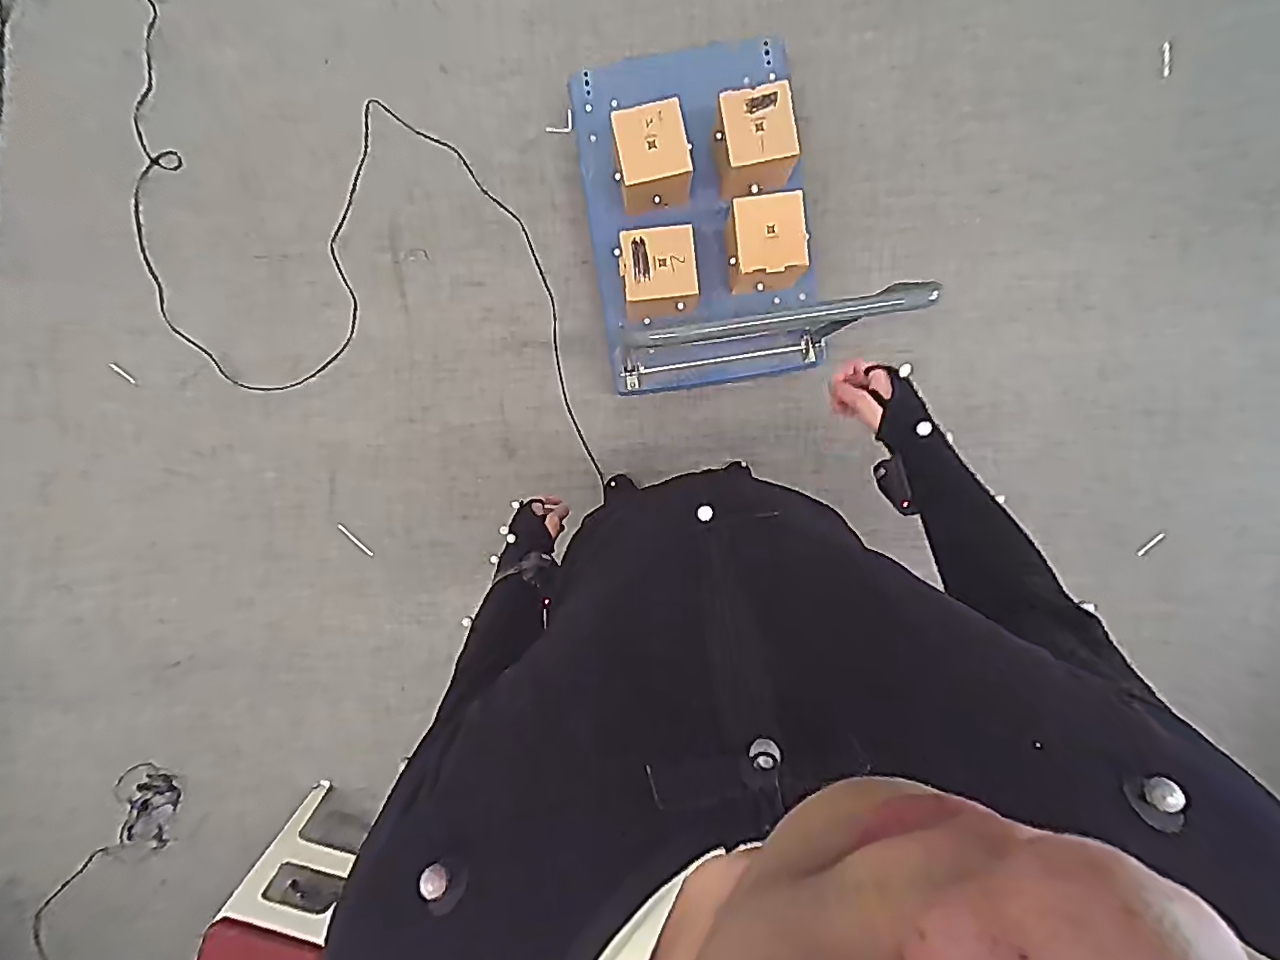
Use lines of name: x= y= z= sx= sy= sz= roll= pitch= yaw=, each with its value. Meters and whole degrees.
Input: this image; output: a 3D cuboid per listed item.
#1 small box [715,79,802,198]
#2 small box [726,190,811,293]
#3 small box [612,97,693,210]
small box: x=0.285 y=-0.834 z=1.335 sx=0.168 sy=0.176 sz=0.179 roll=-10 pitch=93 yaw=2
small box: x=0.313 y=-0.587 z=1.348 sx=0.168 sy=0.176 sz=0.179 roll=-6 pitch=91 yaw=2
small box: x=0.032 y=-0.797 z=1.342 sx=0.168 sy=0.176 sz=0.179 roll=-12 pitch=92 yaw=1
